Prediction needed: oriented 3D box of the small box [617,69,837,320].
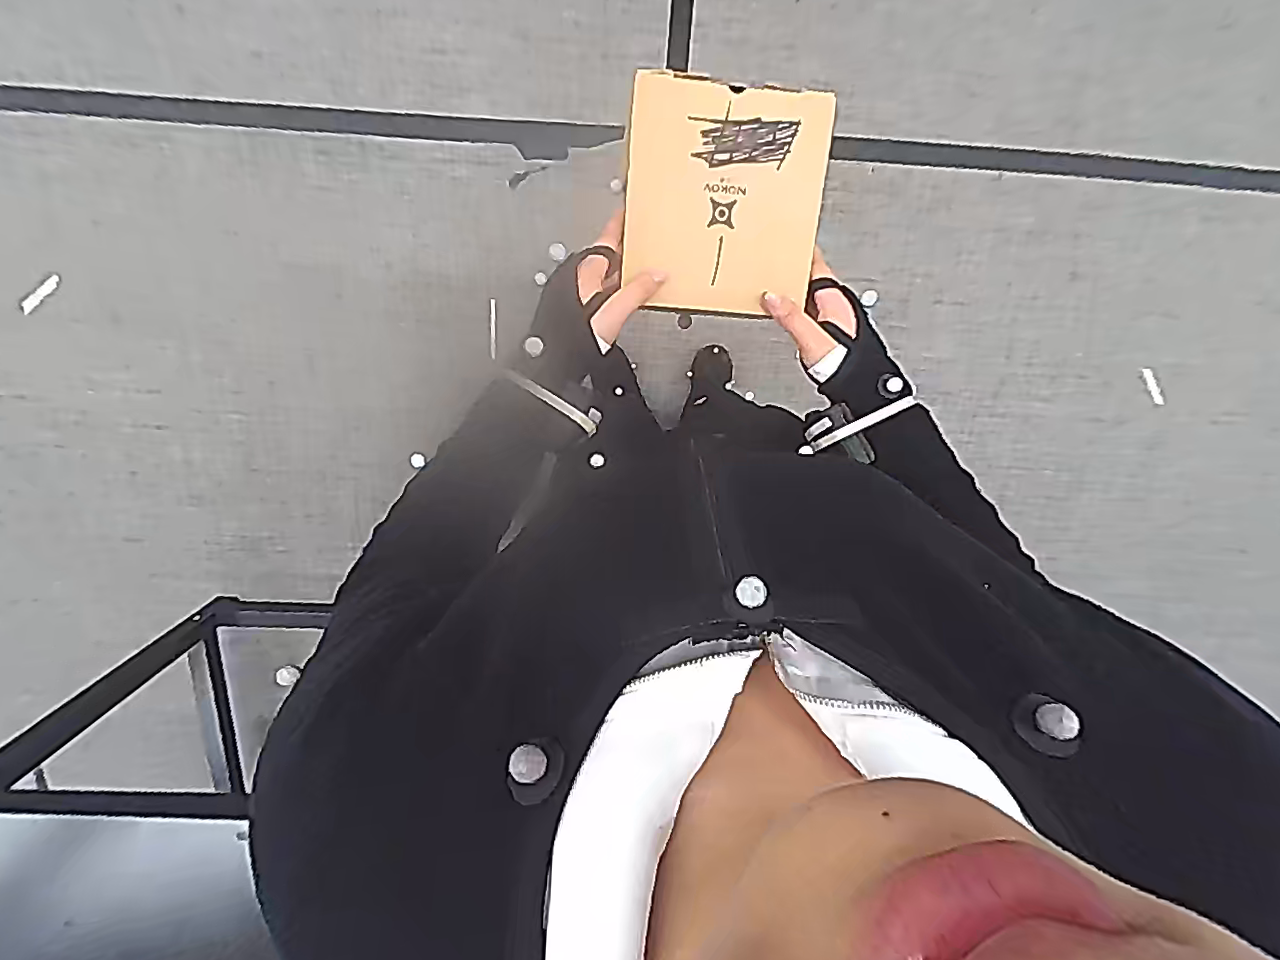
[{"bbox_3d":[0.066,-0.254,0.527,0.168,0.176,0.179,3,107,-5],"label":"small box"}]
